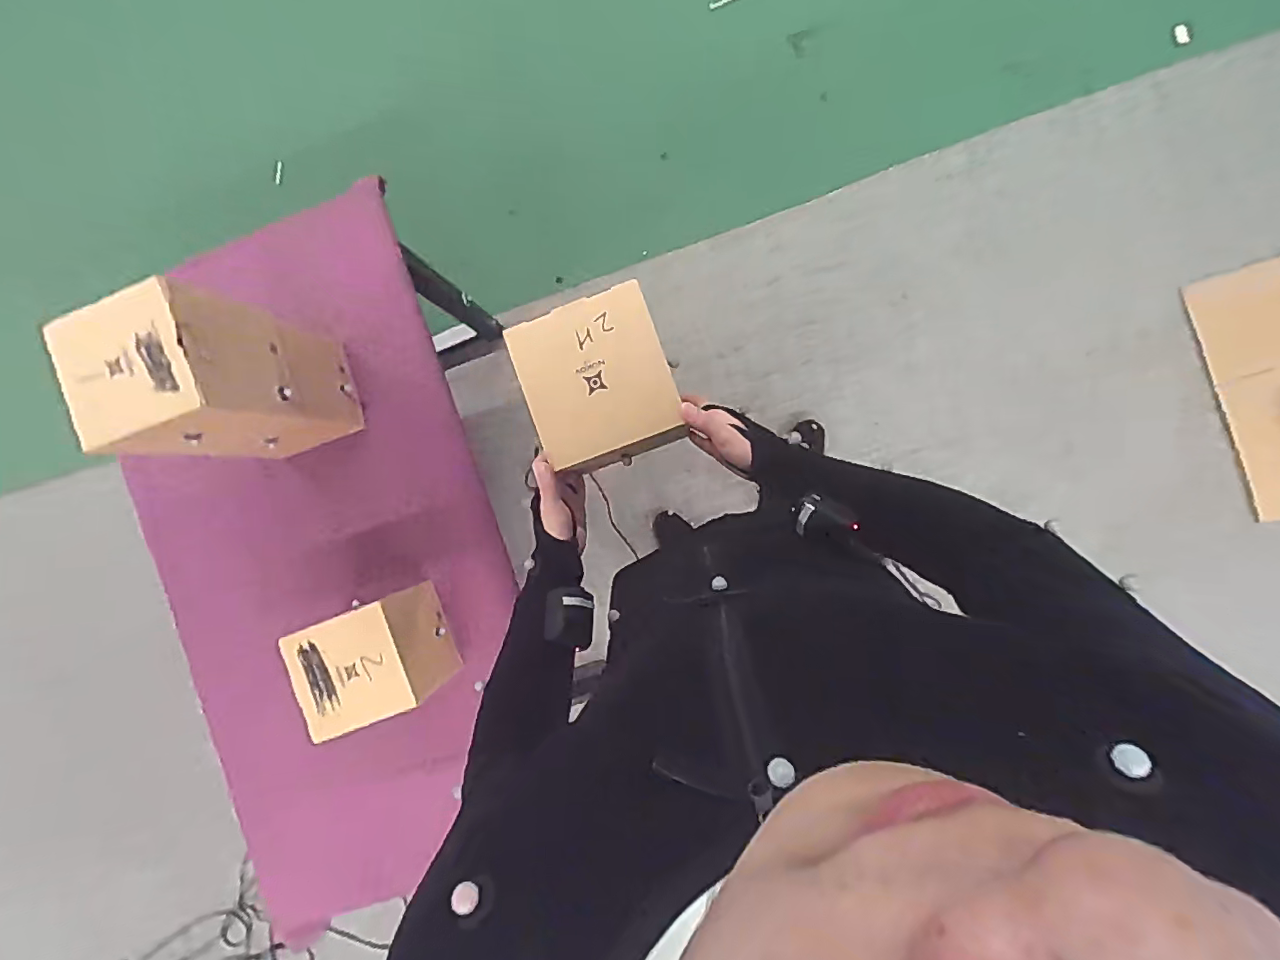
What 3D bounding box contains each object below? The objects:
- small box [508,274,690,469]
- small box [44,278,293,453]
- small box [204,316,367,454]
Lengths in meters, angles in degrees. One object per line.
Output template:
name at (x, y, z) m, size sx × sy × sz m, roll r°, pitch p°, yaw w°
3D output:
small box at (-0.038, -0.120, 0.675) m, size 0.168 × 0.176 × 0.179 m, roll -19°, pitch 87°, yaw 5°
small box at (-0.607, -0.140, 0.725) m, size 0.179 × 0.176 × 0.168 m, roll -18°, pitch 90°, yaw 8°
small box at (-0.593, -0.143, 0.888) m, size 0.179 × 0.176 × 0.168 m, roll -18°, pitch 90°, yaw 6°
